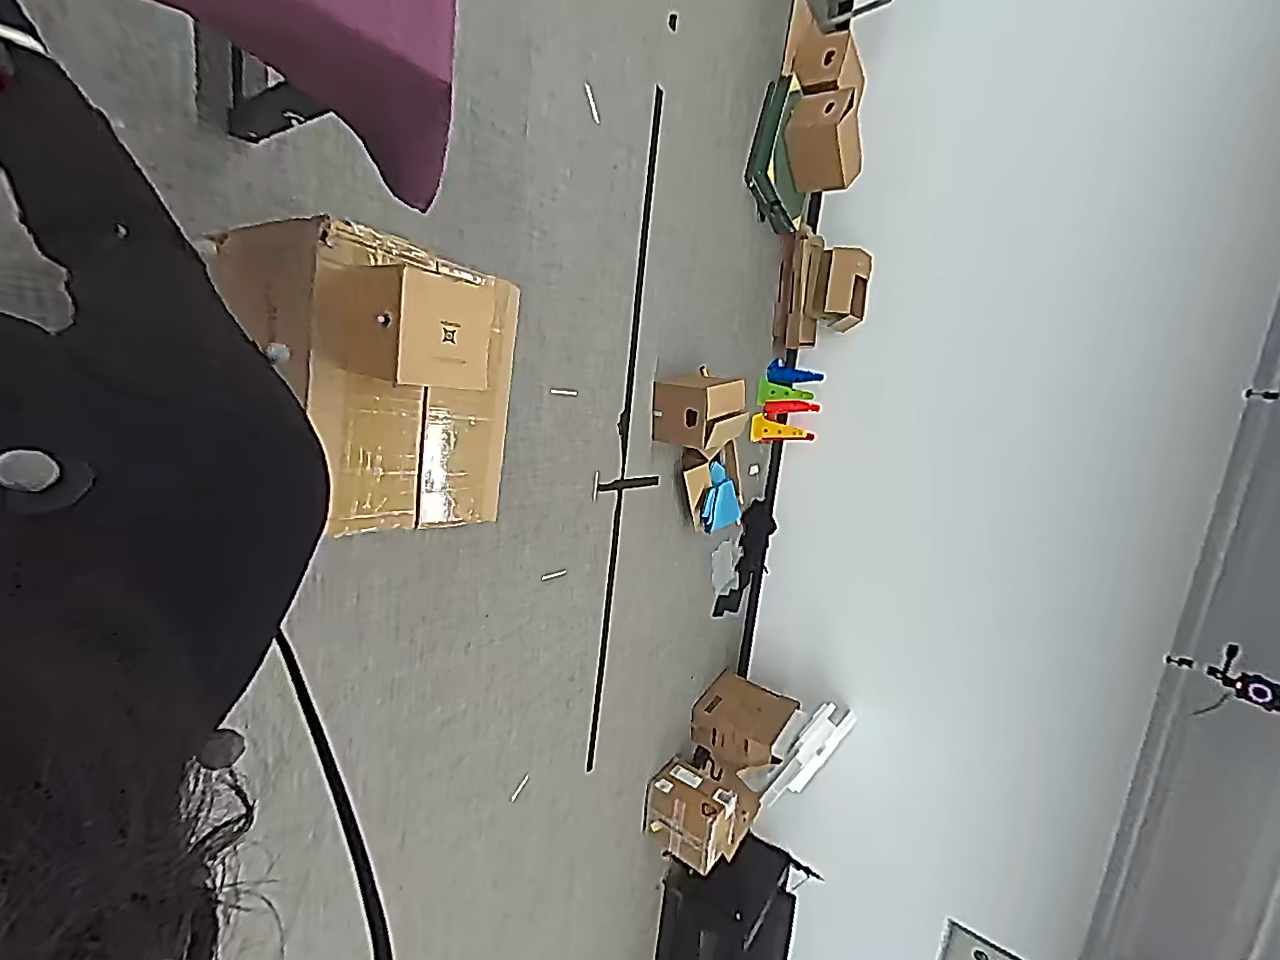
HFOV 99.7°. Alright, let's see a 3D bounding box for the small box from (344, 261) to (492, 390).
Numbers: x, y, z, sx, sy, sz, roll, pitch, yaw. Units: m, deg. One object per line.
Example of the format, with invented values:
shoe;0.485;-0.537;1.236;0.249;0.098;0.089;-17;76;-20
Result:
small box;-0.371;-0.252;0.900;0.168;0.176;0.179;-5;106;-53
